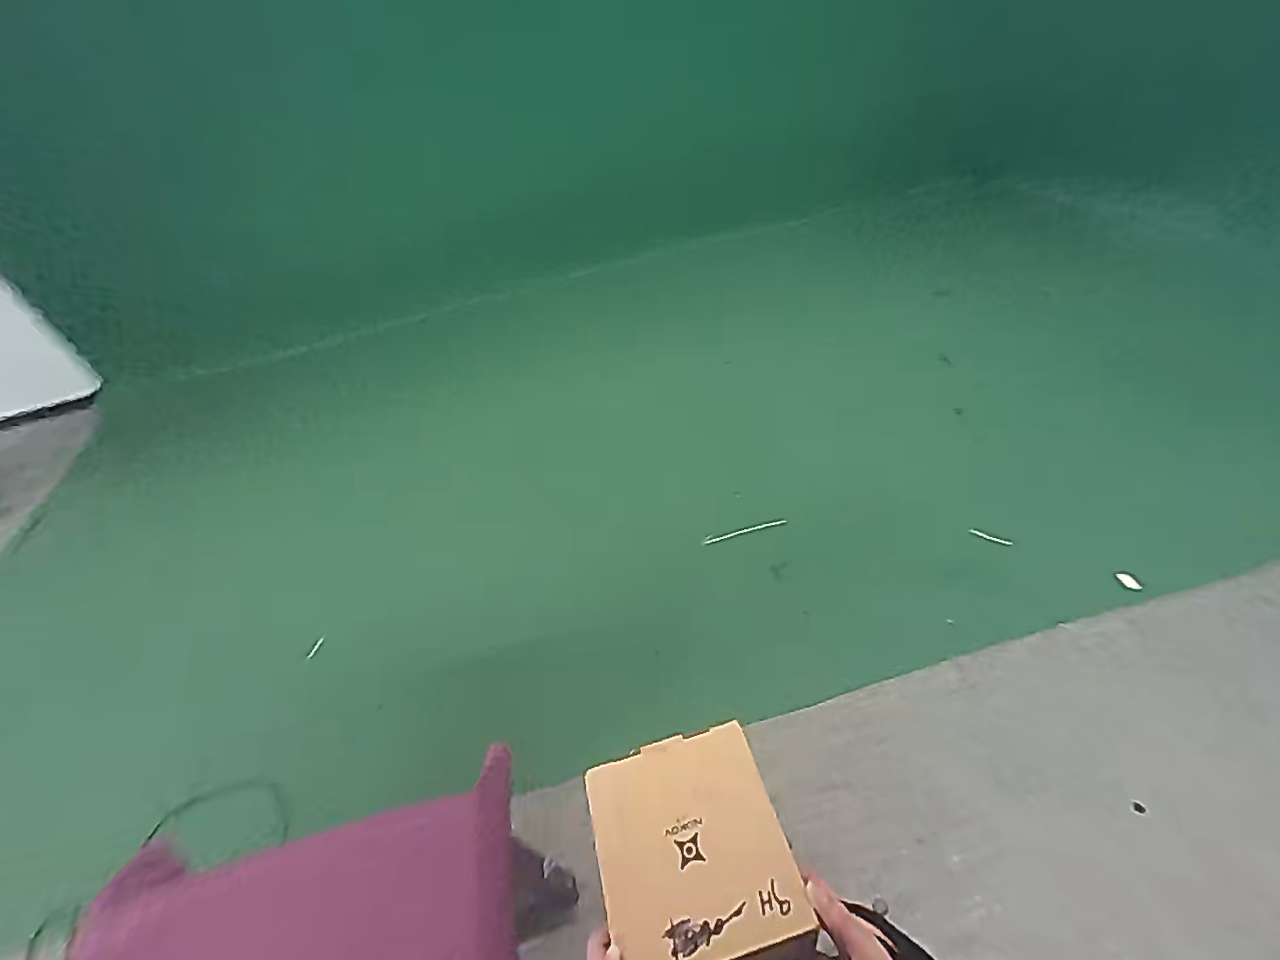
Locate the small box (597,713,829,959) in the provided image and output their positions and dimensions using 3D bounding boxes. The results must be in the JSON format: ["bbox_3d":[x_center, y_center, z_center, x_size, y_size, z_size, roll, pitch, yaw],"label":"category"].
[{"bbox_3d":[0.064,0.368,0.529,0.168,0.176,0.179,-16,41,-3],"label":"small box"}]
